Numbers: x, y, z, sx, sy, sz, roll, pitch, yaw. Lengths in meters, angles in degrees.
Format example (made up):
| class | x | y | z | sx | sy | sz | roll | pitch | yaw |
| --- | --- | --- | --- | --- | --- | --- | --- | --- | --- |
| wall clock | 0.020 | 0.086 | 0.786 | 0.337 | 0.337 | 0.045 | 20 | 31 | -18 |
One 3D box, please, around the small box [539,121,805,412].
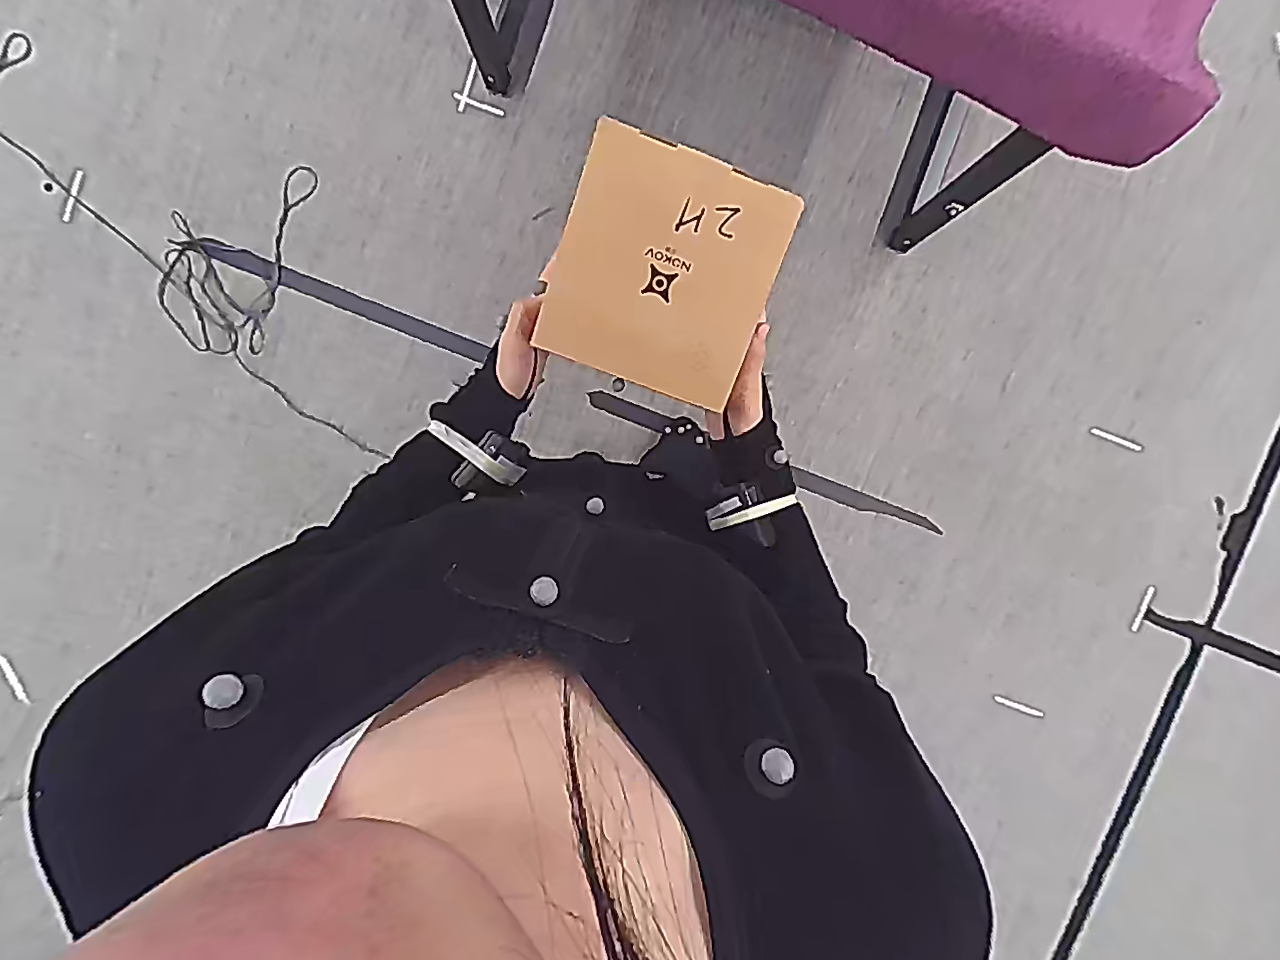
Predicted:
| class | x | y | z | sx | sy | sz | roll | pitch | yaw |
| --- | --- | --- | --- | --- | --- | --- | --- | --- | --- |
| small box | 0.022 | -0.177 | 0.501 | 0.168 | 0.176 | 0.179 | 19 | 100 | -6 |
